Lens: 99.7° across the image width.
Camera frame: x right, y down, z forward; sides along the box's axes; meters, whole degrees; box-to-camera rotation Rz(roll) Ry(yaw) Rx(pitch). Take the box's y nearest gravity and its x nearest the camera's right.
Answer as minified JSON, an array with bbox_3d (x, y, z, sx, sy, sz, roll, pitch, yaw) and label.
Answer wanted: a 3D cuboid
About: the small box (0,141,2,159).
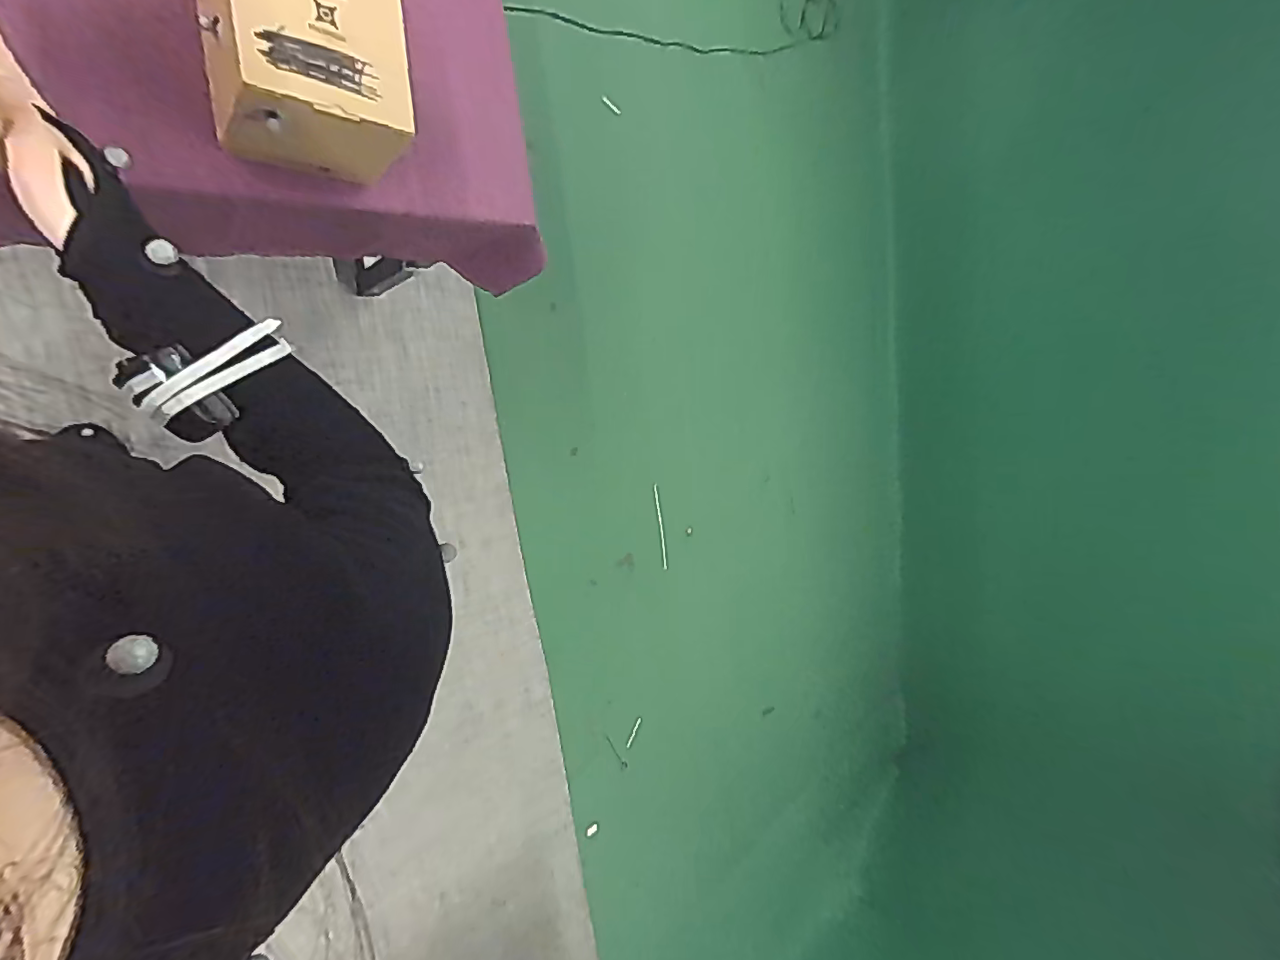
[{"bbox_3d":[-0.422,-0.259,0.231,0.168,0.176,0.179,-15,112,-44],"label":"small box"}]
